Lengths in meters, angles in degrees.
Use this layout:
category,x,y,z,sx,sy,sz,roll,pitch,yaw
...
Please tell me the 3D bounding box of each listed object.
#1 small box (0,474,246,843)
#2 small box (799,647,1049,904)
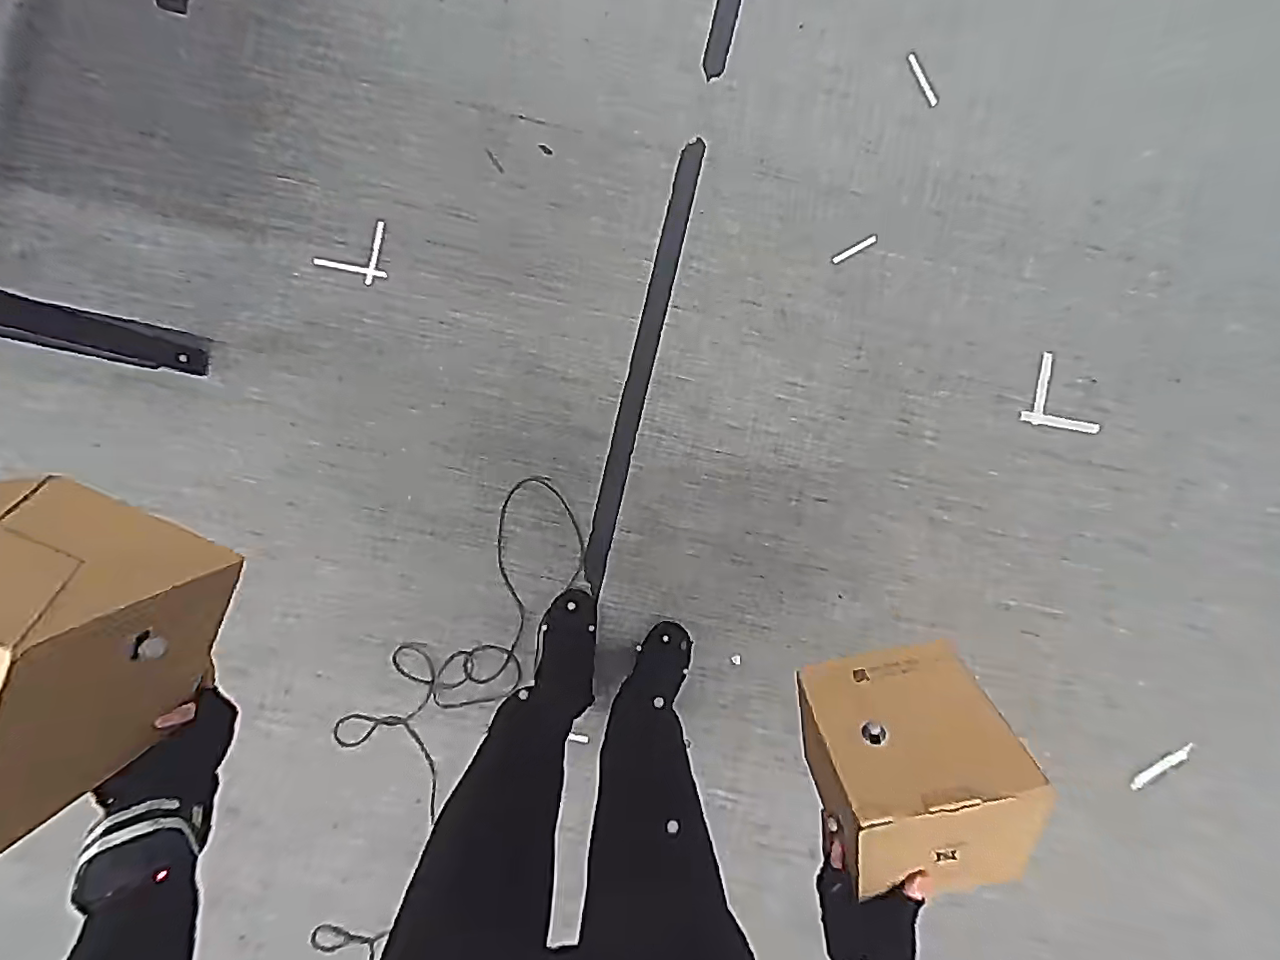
category,x,y,z,sx,sy,sz,roll,pitch,yaw
small box,-0.427,0.107,0.368,0.168,0.179,0.176,26,95,-4
small box,0.274,0.296,0.566,0.168,0.176,0.179,-13,122,3
